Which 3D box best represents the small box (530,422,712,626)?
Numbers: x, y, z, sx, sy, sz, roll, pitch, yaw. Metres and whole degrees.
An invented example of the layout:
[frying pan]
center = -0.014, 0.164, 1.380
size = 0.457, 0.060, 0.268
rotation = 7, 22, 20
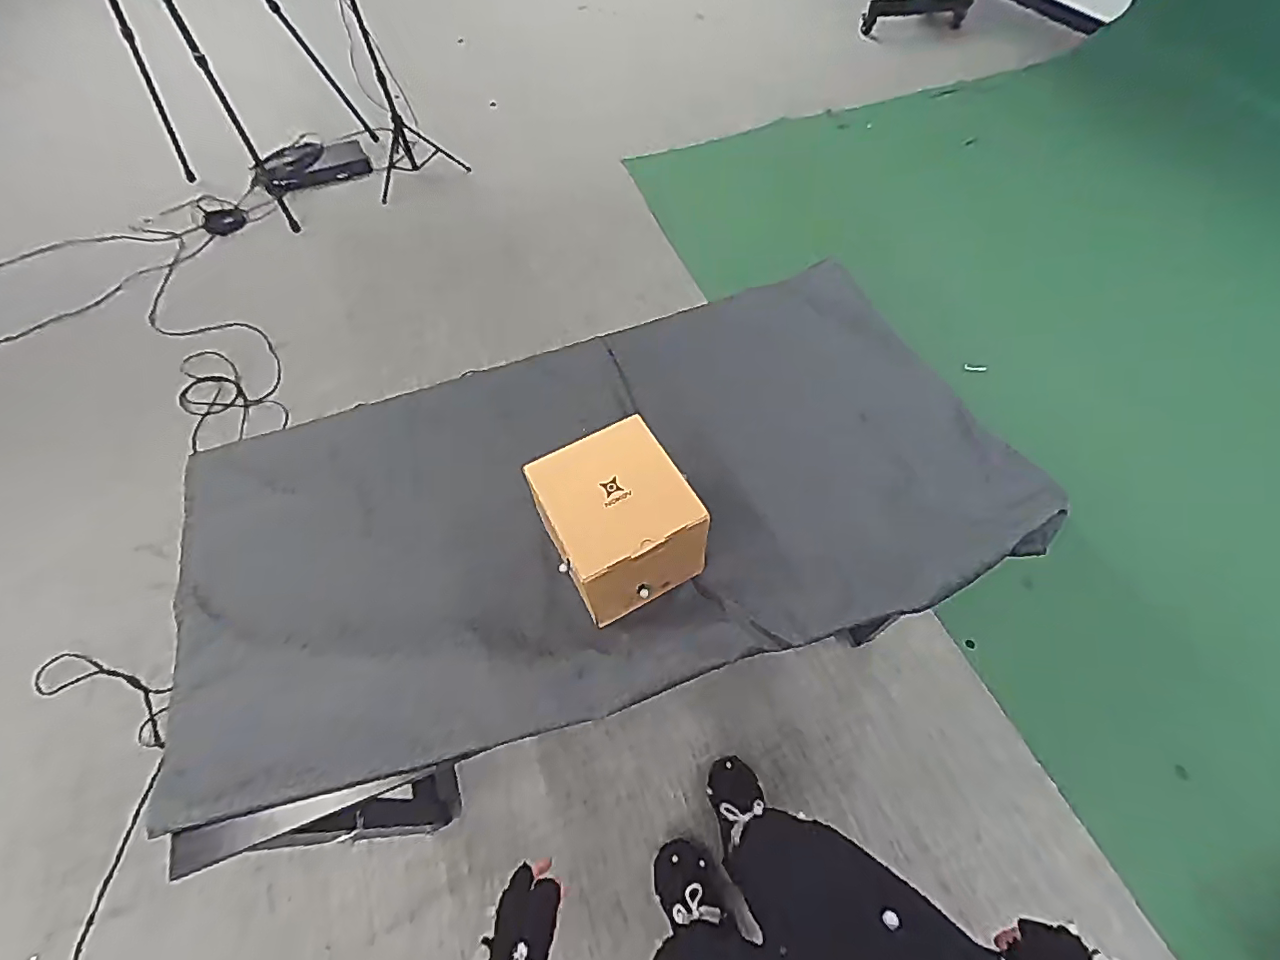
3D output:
[small box]
center = -0.026, 0.061, 0.711
size = 0.168, 0.176, 0.179
rotation = -26, 61, -14
